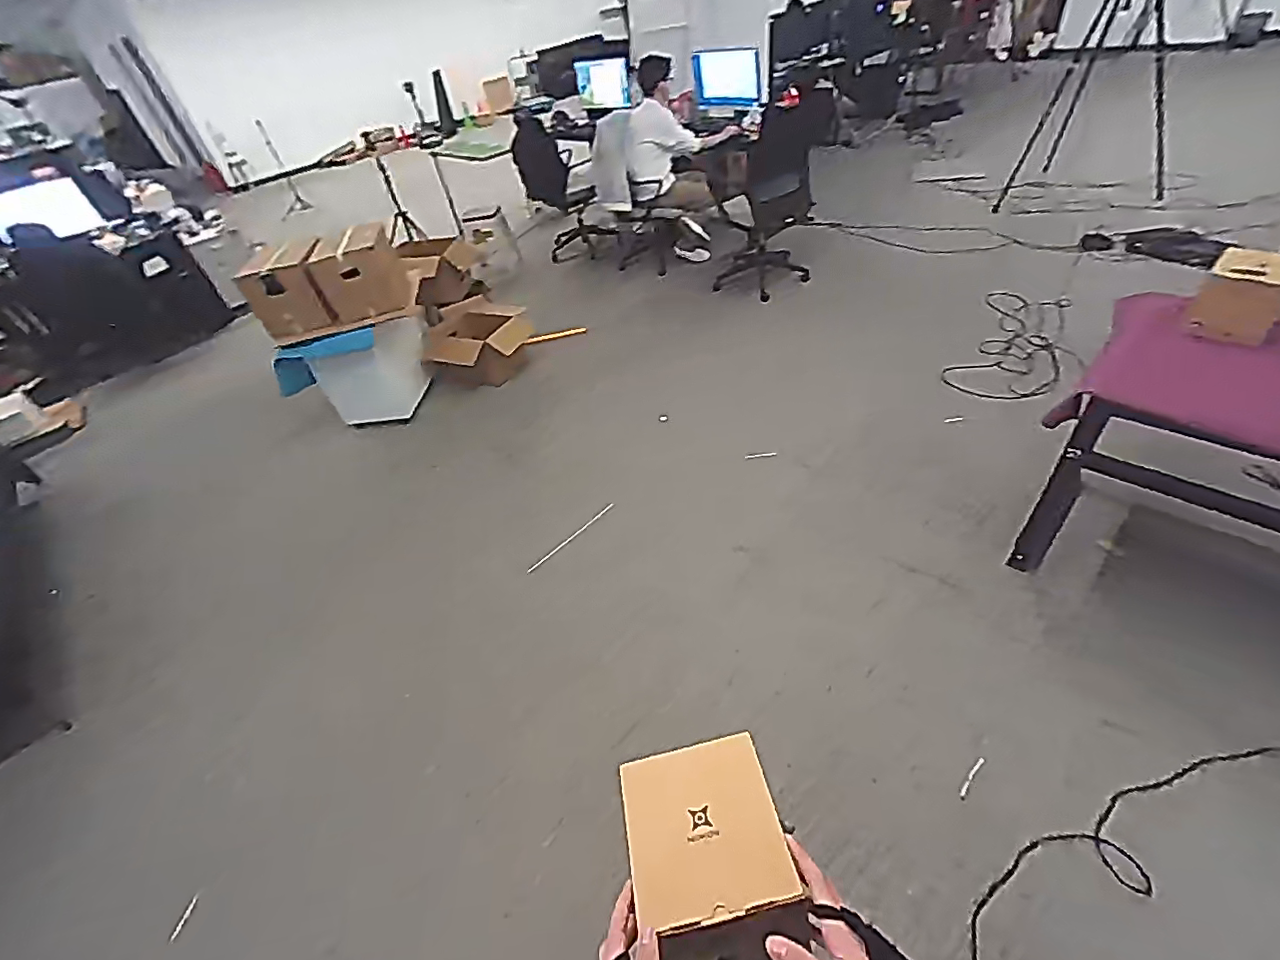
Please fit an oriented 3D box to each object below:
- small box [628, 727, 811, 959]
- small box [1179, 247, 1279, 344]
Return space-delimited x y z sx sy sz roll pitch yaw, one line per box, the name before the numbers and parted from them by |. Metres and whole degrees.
small box | 0.088 0.430 0.632 0.168 0.176 0.179 -14 34 0
small box | 1.573 -0.481 1.414 0.179 0.176 0.168 -37 49 -24
